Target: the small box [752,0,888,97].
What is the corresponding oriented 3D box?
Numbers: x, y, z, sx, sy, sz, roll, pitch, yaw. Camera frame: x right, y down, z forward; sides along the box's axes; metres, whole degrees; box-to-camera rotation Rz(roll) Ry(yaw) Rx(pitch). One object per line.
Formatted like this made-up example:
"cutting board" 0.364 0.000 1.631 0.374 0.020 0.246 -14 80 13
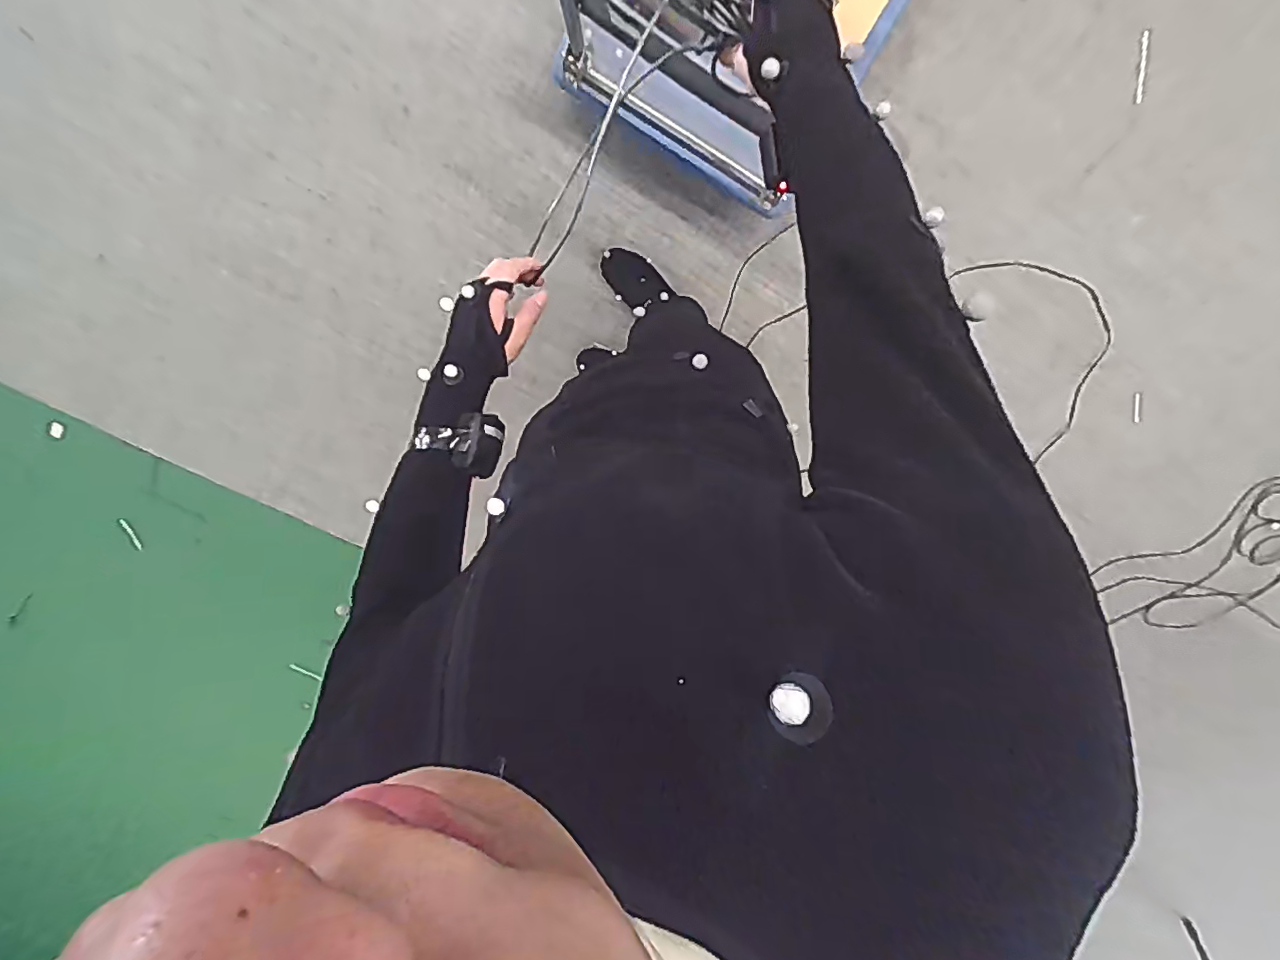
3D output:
"small box" 0.327 -0.854 0.999 0.168 0.176 0.179 27 115 -13
